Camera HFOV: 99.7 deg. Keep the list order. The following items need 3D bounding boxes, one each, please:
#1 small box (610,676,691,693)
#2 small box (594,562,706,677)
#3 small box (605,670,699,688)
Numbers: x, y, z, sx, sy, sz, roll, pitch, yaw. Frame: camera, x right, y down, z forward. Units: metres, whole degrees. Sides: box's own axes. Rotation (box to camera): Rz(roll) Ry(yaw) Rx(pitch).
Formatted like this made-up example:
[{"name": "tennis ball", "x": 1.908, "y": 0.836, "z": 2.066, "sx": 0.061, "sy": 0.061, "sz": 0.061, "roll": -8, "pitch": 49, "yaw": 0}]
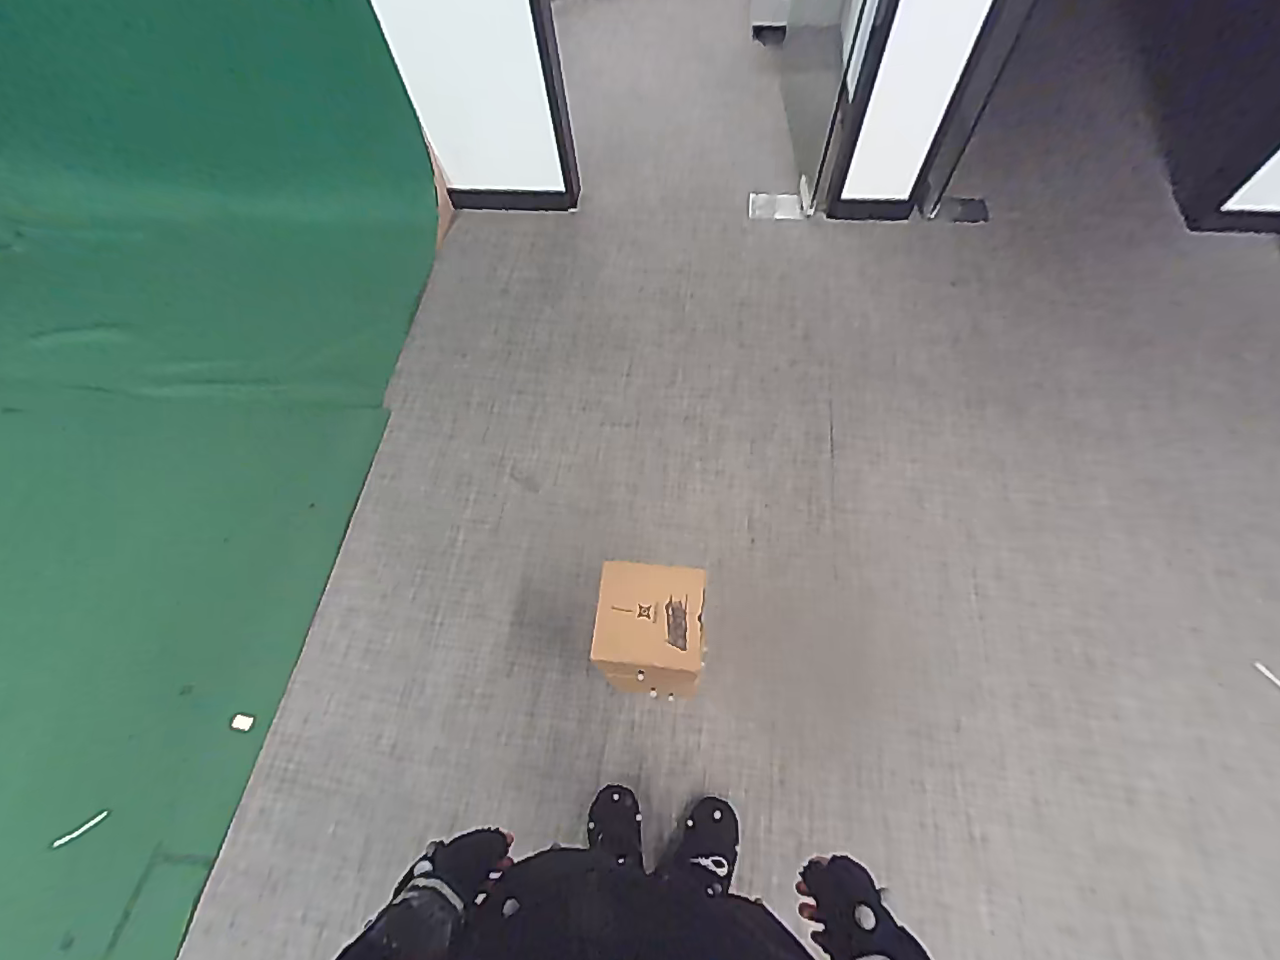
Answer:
[{"name": "small box", "x": 0.036, "y": 0.394, "z": 1.253, "sx": 0.179, "sy": 0.176, "sz": 0.168, "roll": 4, "pitch": 63, "yaw": 7}, {"name": "small box", "x": 0.021, "y": 0.251, "z": 0.957, "sx": 0.179, "sy": 0.176, "sz": 0.168, "roll": 3, "pitch": 64, "yaw": 4}, {"name": "small box", "x": 0.032, "y": 0.326, "z": 1.104, "sx": 0.179, "sy": 0.176, "sz": 0.168, "roll": 4, "pitch": 64, "yaw": 5}]
